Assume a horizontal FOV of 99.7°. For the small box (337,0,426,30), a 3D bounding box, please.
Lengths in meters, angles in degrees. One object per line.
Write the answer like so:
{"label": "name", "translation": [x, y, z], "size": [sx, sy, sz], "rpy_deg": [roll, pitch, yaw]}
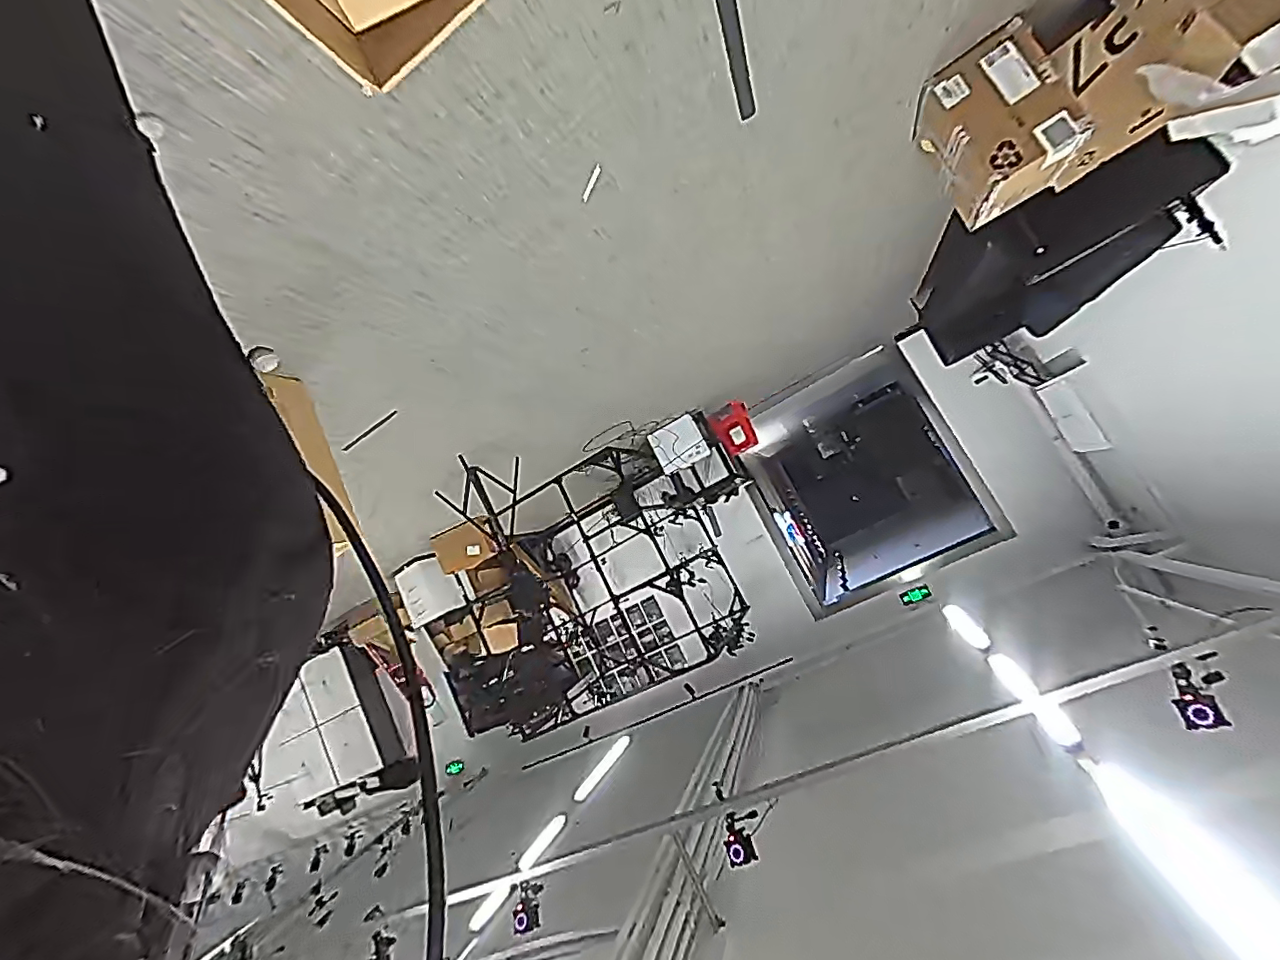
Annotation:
{"label": "small box", "translation": [-0.399, -0.810, 0.764], "size": [0.179, 0.176, 0.168], "rpy_deg": [-25, 170, -1]}
